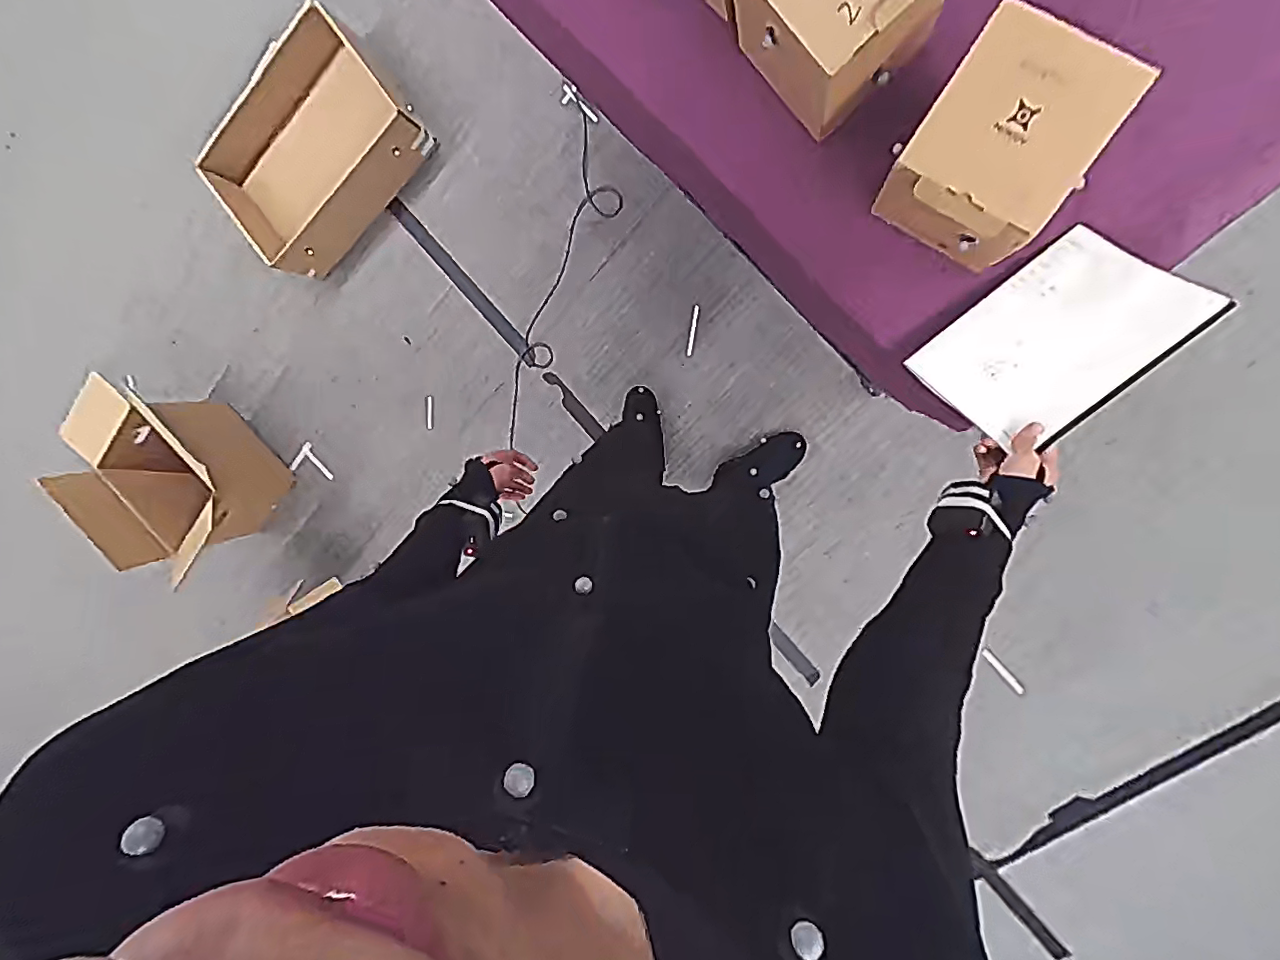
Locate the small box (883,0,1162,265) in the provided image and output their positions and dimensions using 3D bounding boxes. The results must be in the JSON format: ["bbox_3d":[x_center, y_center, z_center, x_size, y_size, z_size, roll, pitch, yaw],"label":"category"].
[{"bbox_3d":[0.404,-0.374,0.617,0.168,0.176,0.179,34,105,6],"label":"small box"}]
